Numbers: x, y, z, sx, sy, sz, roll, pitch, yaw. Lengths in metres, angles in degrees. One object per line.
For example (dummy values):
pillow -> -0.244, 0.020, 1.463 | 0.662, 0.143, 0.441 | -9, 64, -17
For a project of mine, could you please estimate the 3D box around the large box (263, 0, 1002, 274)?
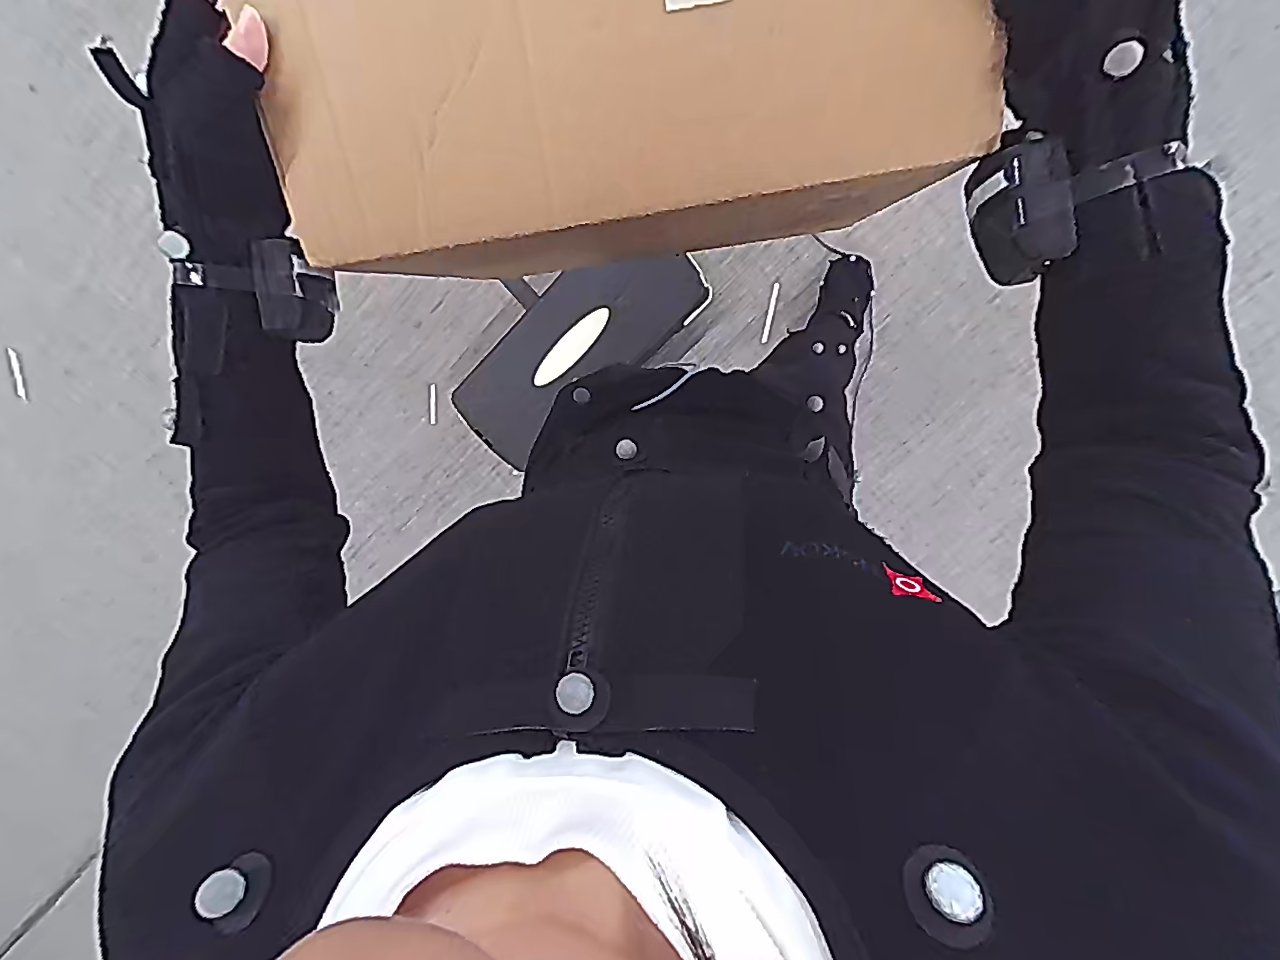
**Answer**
large box -> -0.009, -0.359, 0.418 | 0.408, 0.320, 0.320 | -6, 109, 8
